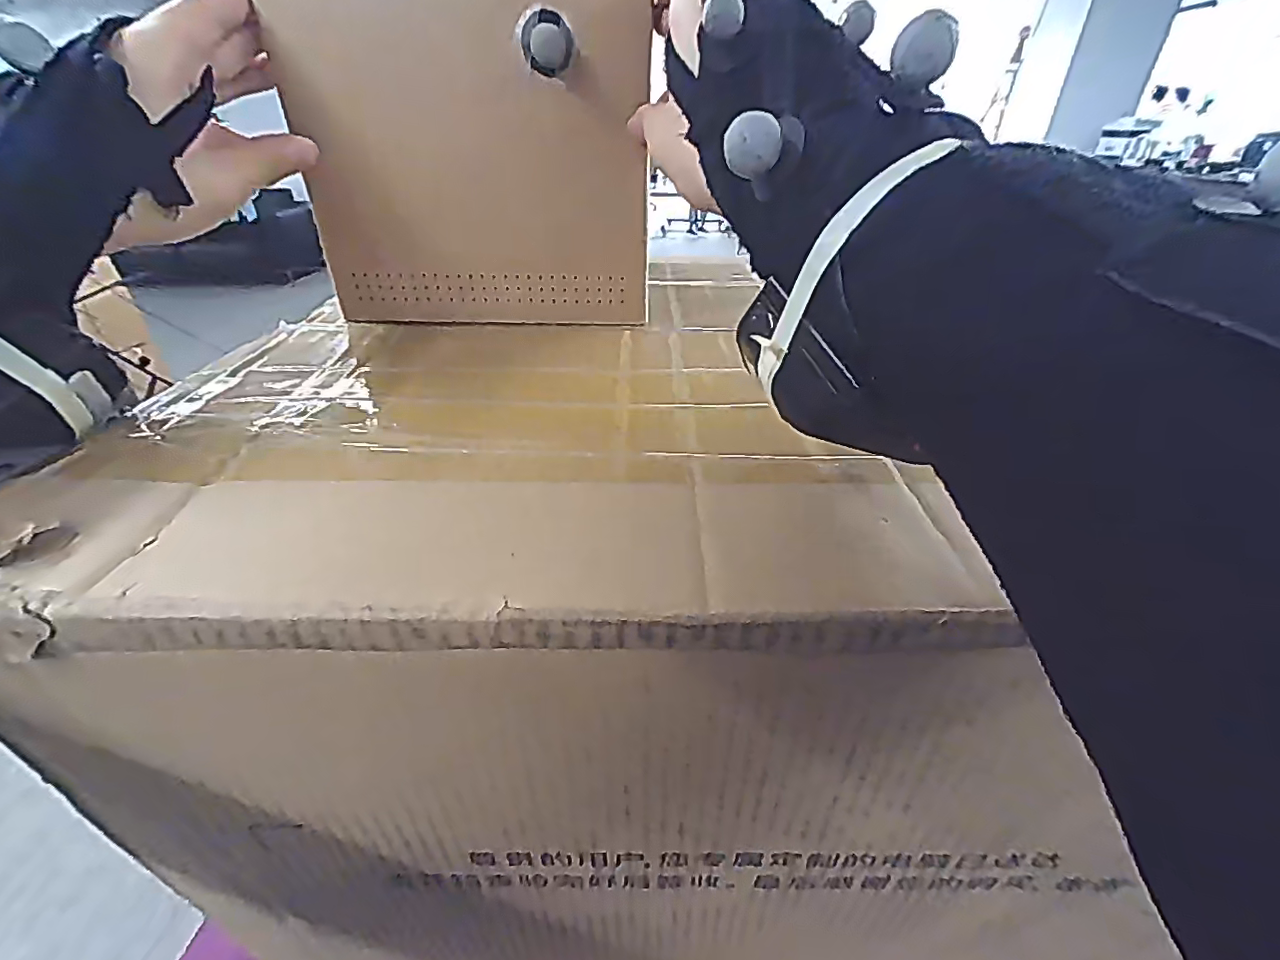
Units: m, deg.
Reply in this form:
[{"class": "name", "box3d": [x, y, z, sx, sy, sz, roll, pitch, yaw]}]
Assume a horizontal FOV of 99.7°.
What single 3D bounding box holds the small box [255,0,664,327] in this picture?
[{"class": "small box", "box3d": [-0.079, -0.198, 0.330, 0.179, 0.176, 0.168, 0, 33, 0]}]
